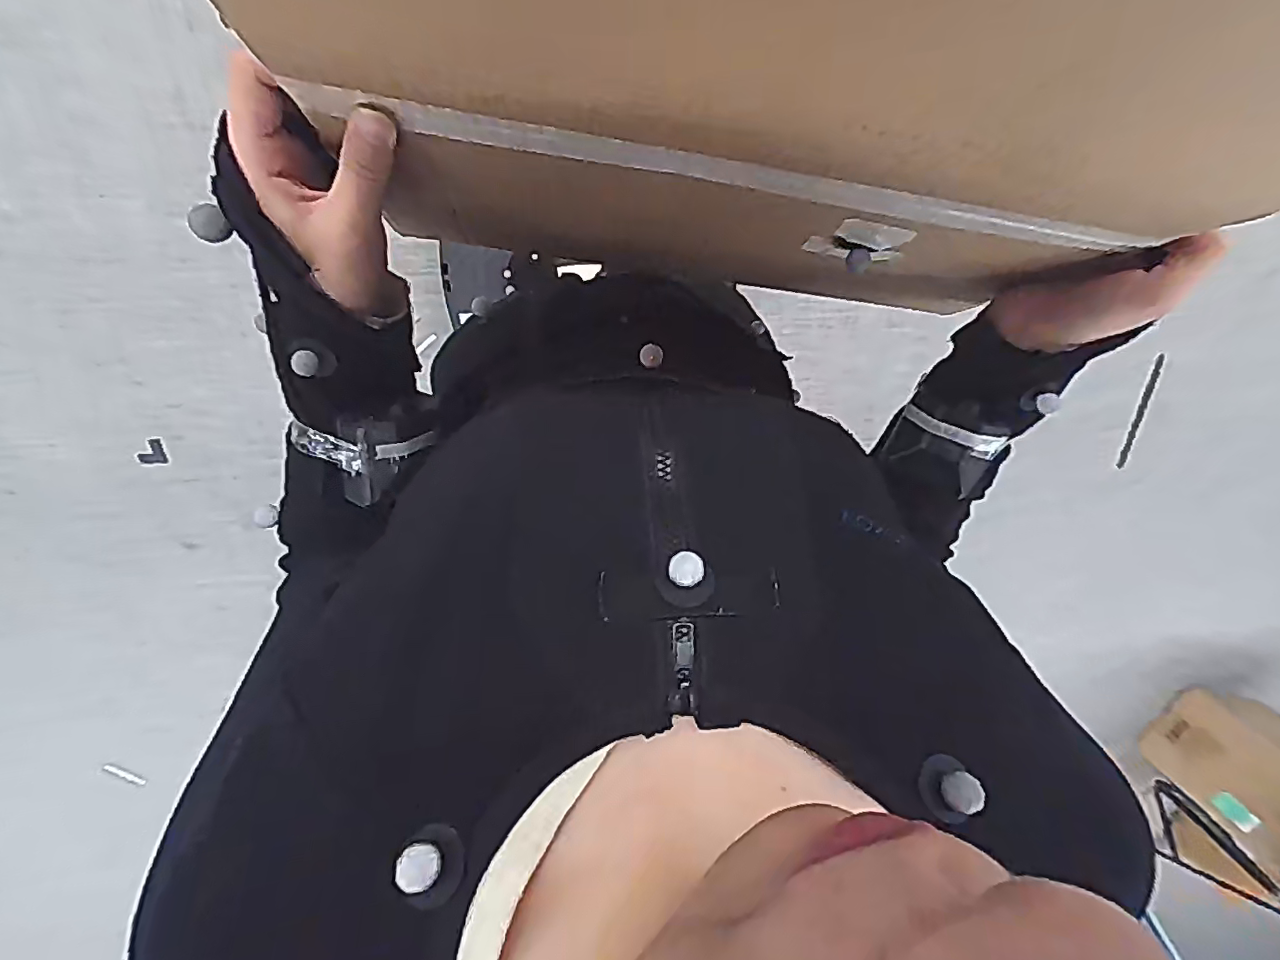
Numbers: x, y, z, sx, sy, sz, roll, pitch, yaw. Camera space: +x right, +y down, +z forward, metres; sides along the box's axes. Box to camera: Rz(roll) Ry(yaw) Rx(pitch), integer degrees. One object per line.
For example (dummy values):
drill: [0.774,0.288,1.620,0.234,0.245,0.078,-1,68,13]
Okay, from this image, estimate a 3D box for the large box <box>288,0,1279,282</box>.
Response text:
large box: [0.086,-0.295,0.202,0.408,0.320,0.320,4,94,-9]

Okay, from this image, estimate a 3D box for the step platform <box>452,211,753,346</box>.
step platform: [-0.084,-0.494,1.276,0.684,0.204,0.286,2,115,-10]
